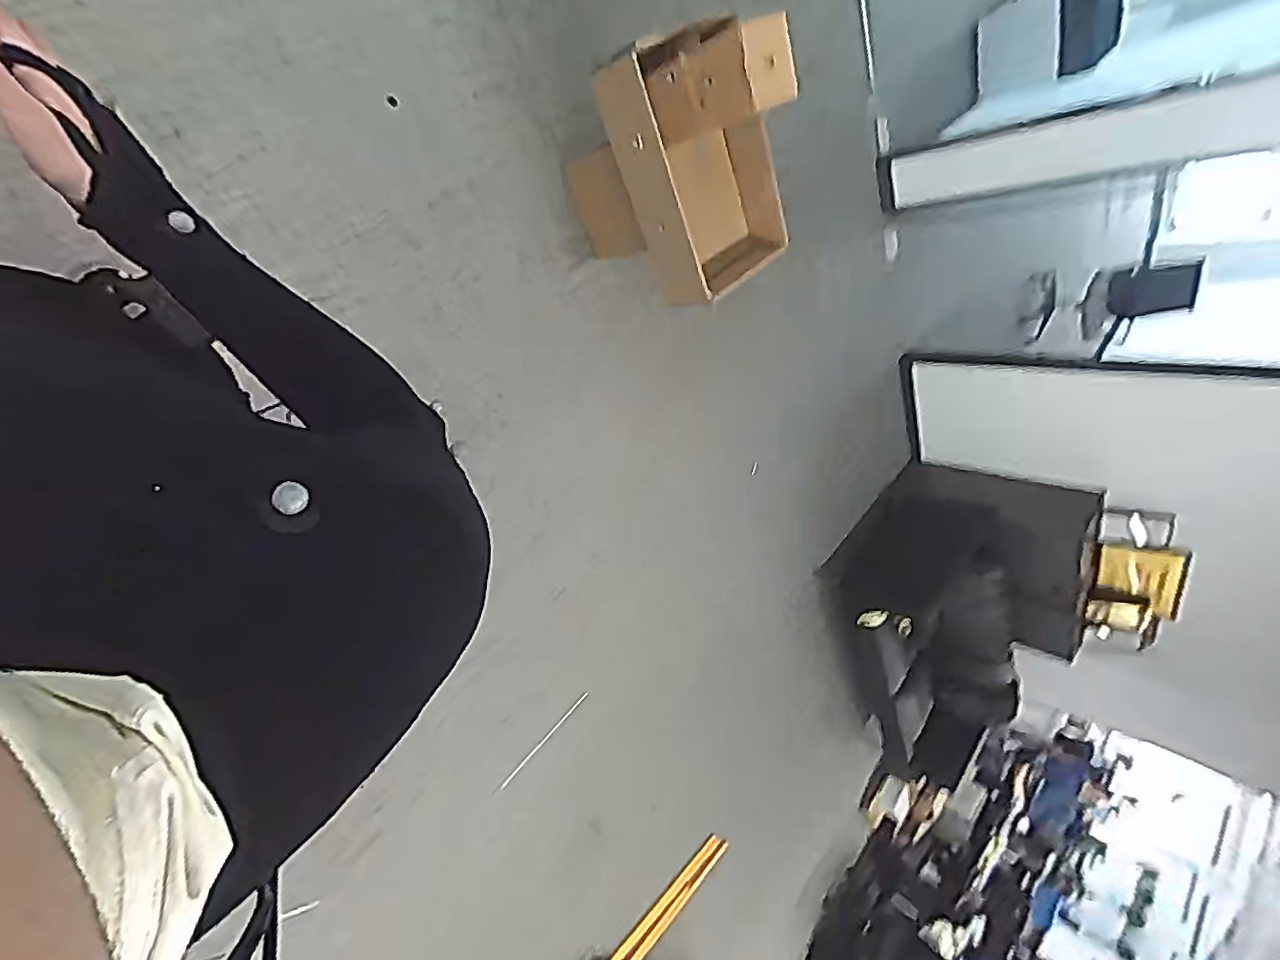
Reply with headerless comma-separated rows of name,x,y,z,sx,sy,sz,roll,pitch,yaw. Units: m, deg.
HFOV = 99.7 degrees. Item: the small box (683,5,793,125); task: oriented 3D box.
small box,0.230,-0.966,1.267,0.179,0.176,0.168,-41,125,-27
